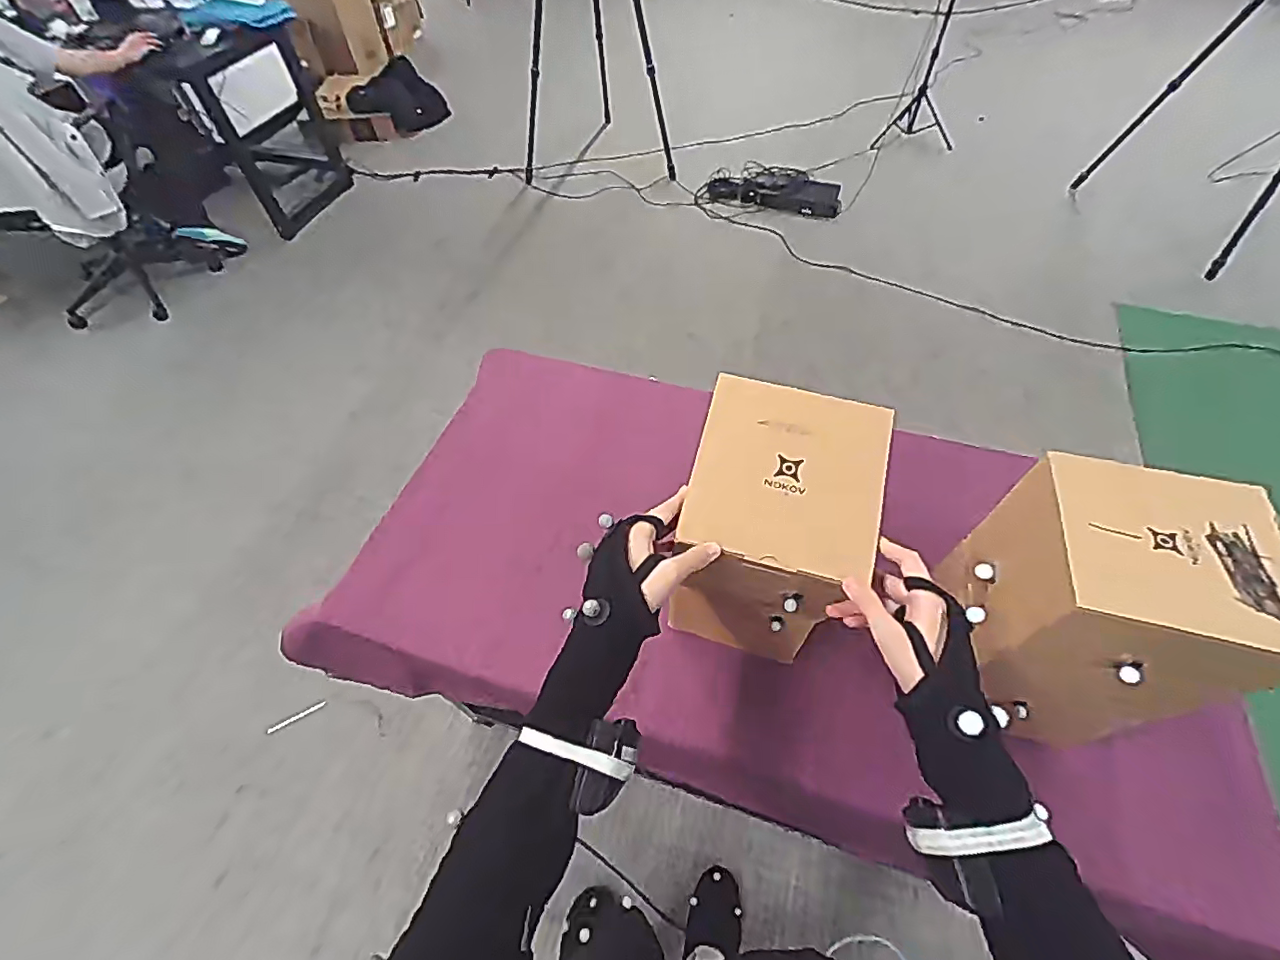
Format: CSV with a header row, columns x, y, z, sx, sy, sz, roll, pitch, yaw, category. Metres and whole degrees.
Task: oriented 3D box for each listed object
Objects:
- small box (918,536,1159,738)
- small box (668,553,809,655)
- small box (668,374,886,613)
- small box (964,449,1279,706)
x,y,z,sx,sy,sz,roll,pitch,yaw,category
0.449,0.192,0.650,0.179,0.176,0.168,11,55,11,small box
0.140,0.114,0.725,0.179,0.176,0.168,15,55,12,small box
0.132,0.023,0.556,0.168,0.176,0.179,14,67,9,small box
0.441,0.098,0.516,0.179,0.176,0.168,11,55,12,small box
